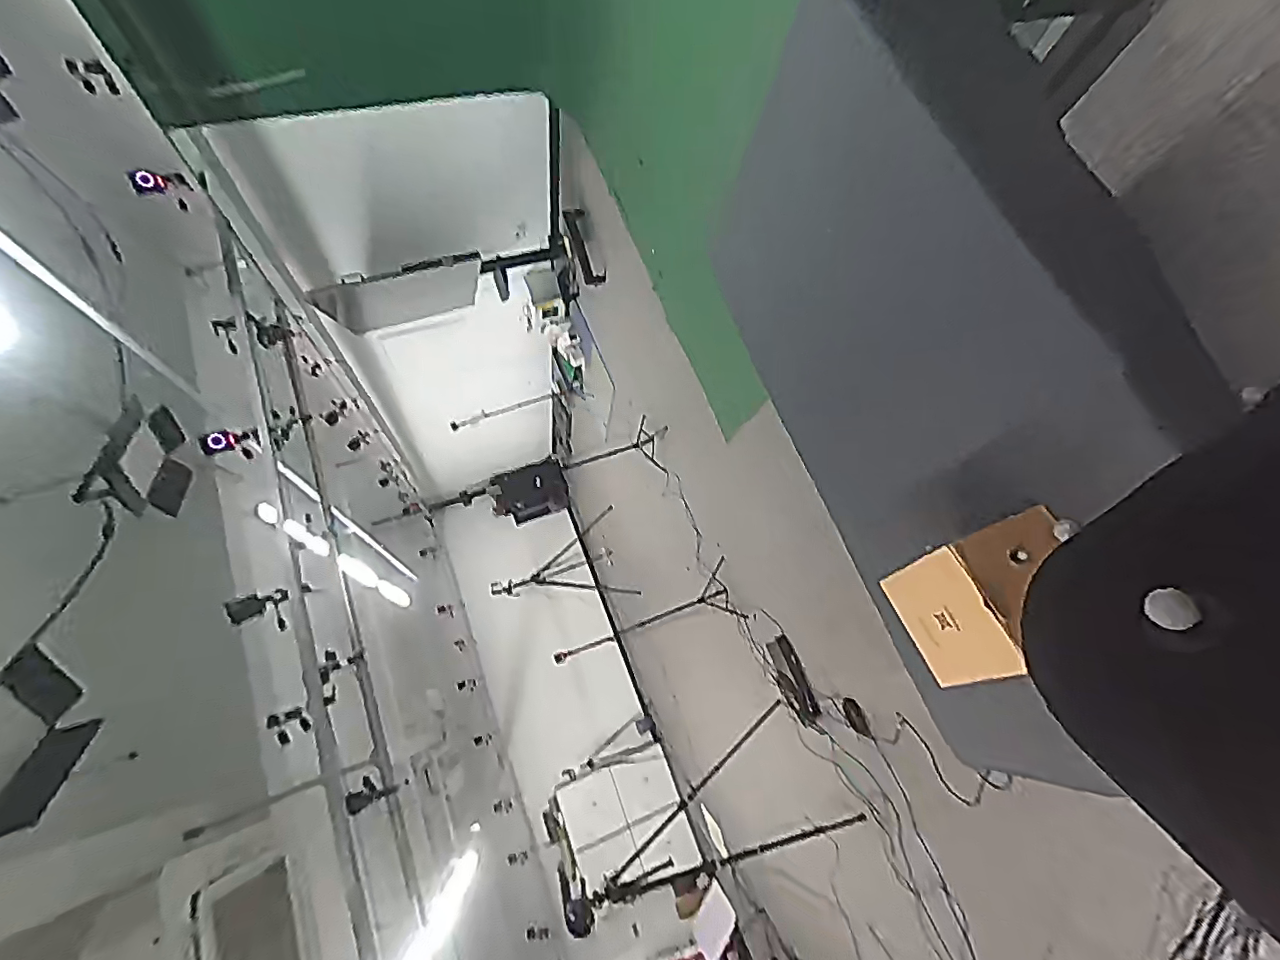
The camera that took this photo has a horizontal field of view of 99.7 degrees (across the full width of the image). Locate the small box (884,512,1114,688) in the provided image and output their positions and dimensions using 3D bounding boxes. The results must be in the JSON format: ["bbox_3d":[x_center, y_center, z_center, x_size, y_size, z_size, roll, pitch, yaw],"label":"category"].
[{"bbox_3d":[0.484,0.164,0.737,0.179,0.176,0.168,101,149,-63],"label":"small box"}]
